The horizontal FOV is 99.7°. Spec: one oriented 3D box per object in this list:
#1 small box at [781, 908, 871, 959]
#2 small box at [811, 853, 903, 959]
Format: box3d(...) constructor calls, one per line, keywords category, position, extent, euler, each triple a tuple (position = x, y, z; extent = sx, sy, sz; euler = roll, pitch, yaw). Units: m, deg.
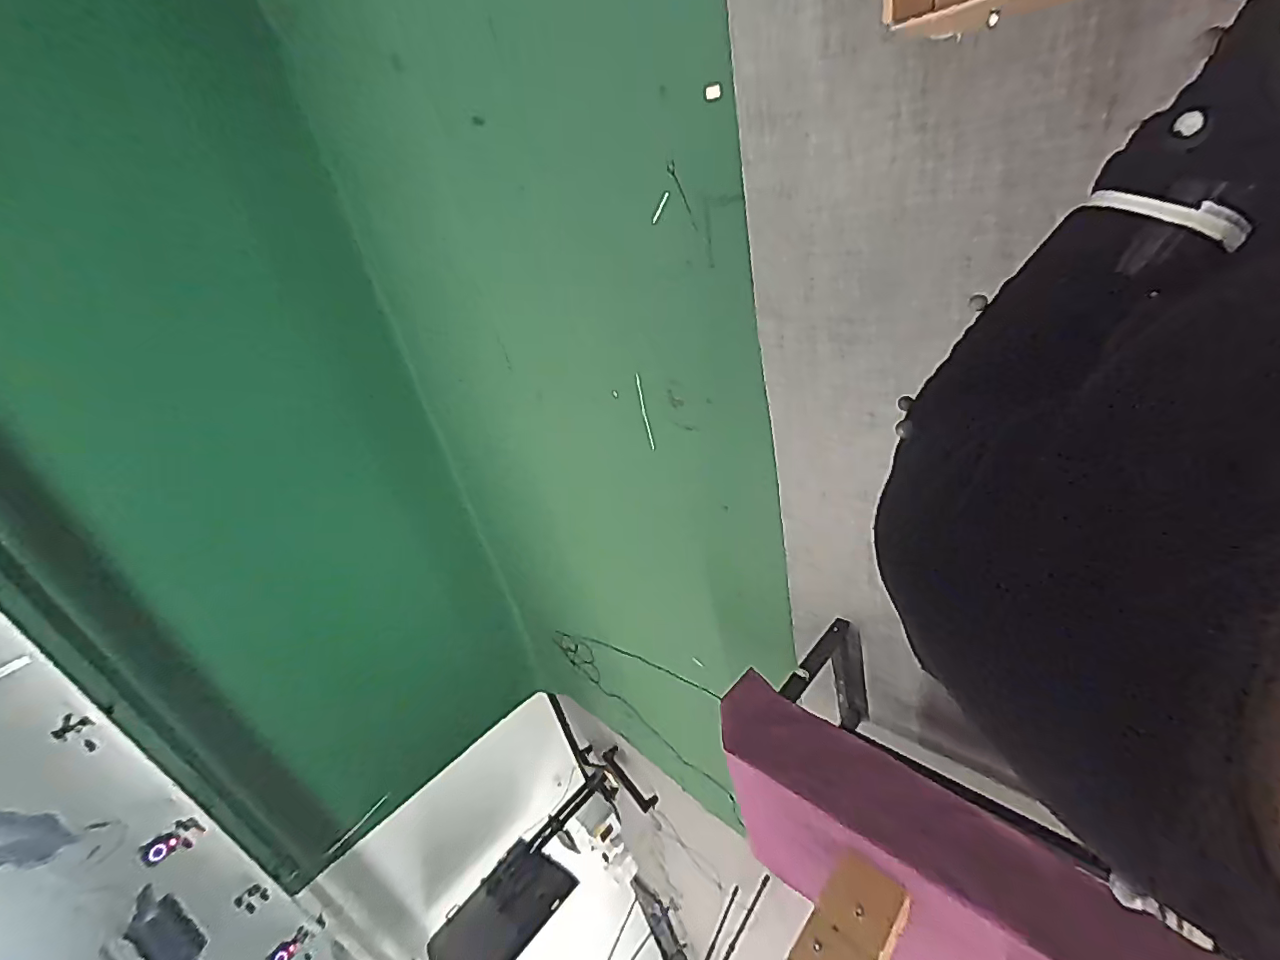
box3d(category="small box", position=(0.461, 1.228, 1.345), extent=(0.168, 0.176, 0.179), euler=(21, 133, 42))
box3d(category="small box", position=(0.574, 1.146, 1.430), extent=(0.179, 0.176, 0.168), euler=(20, 131, 43))
